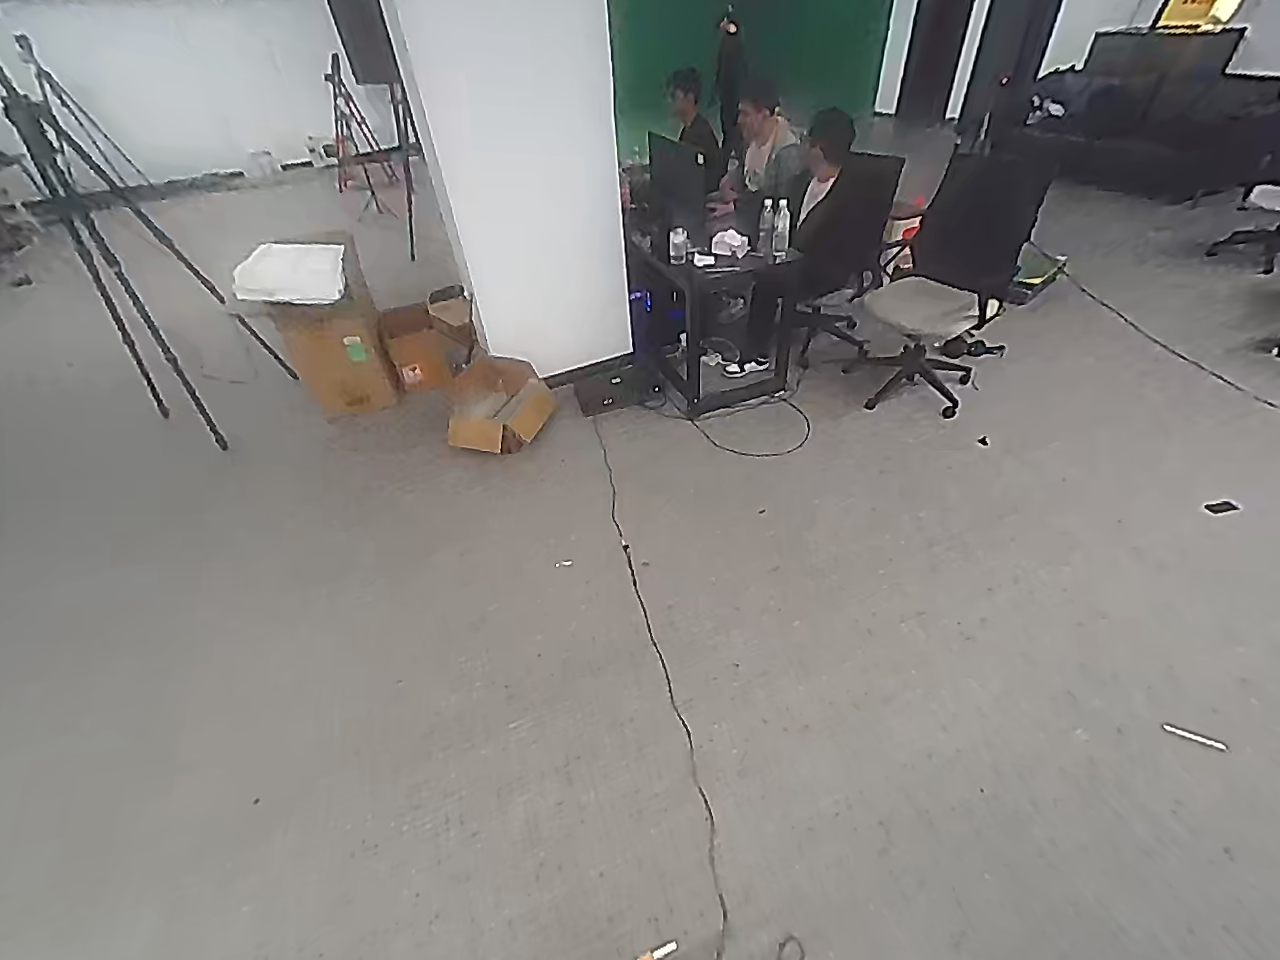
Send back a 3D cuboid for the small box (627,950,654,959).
[{"bbox_3d":[-0.019,1.123,1.111,0.168,0.176,0.179,-18,43,-13],"label":"small box"}]
